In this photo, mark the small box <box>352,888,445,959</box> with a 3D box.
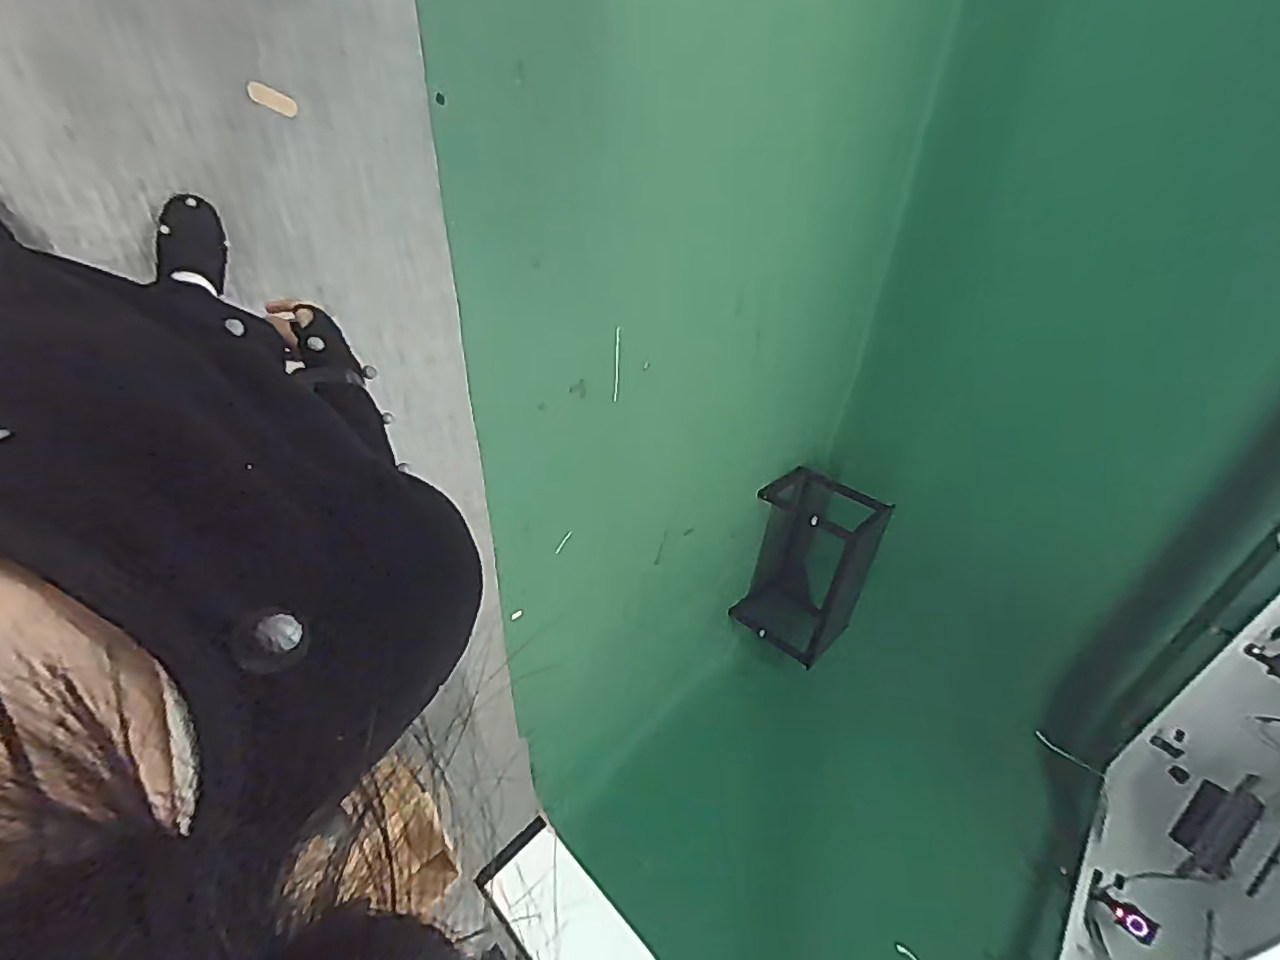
[{"bbox_3d":[-0.706,1.347,1.577,0.168,0.176,0.179,-34,137,-34],"label":"small box"}]

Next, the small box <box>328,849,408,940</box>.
[{"bbox_3d":[-0.830,1.294,1.671,0.168,0.176,0.179,-33,134,-34],"label":"small box"}]
